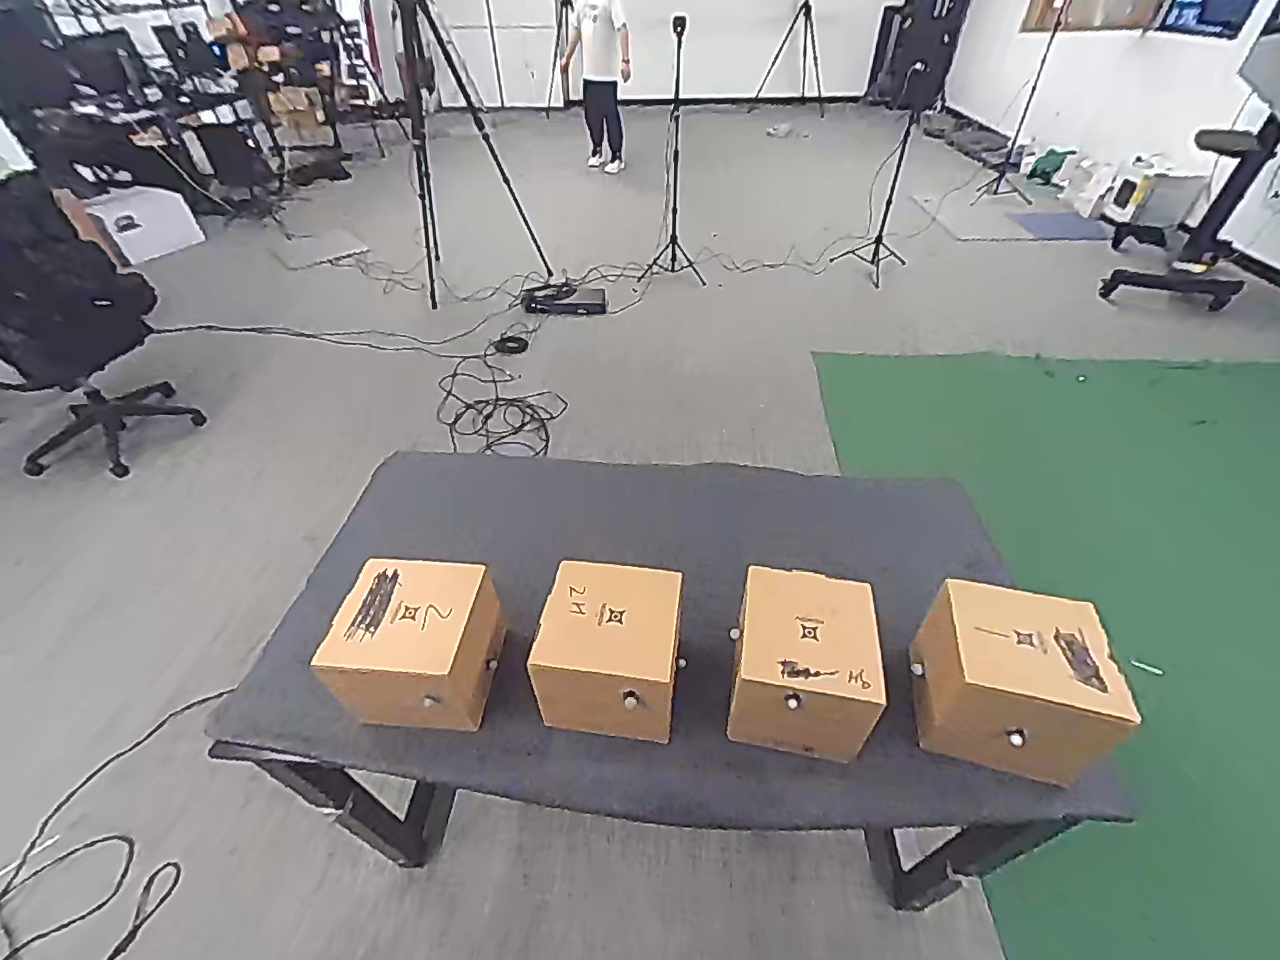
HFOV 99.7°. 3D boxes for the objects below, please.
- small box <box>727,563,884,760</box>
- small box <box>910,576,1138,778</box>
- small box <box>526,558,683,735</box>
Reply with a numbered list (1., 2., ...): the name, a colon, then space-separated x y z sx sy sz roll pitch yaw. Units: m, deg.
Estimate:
1. small box: 0.213 0.242 0.730 0.168 0.176 0.179 8 42 10
2. small box: 0.472 0.255 0.701 0.179 0.176 0.168 10 41 14
3. small box: -0.037 0.232 0.749 0.179 0.176 0.168 4 42 8
